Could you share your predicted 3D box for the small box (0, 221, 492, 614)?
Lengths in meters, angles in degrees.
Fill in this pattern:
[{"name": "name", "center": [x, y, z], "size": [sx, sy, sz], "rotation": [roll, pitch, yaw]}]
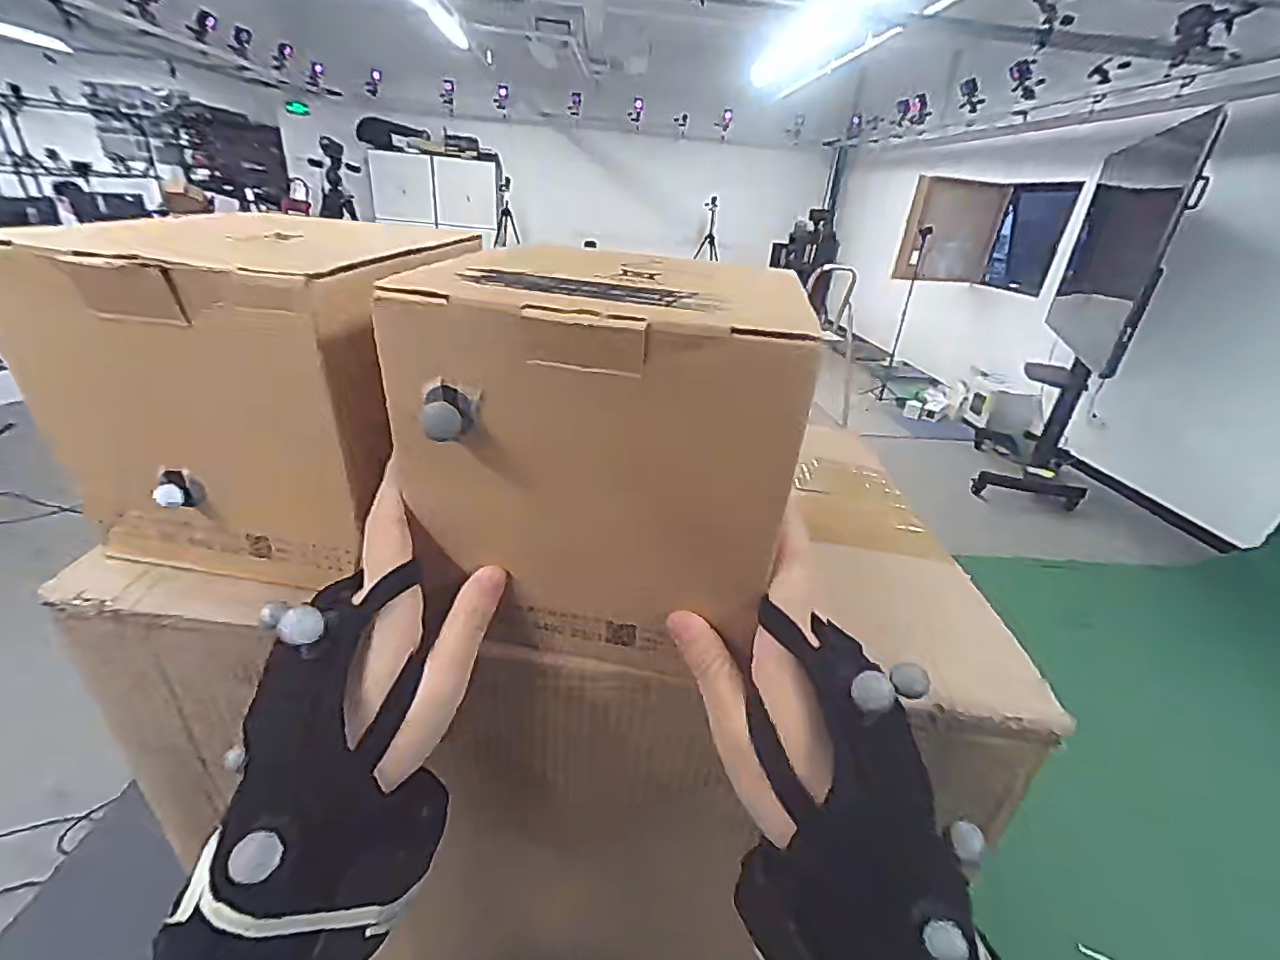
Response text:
[{"name": "small box", "center": [-0.198, -0.050, 0.327], "size": [0.168, 0.176, 0.179], "rotation": [8, 31, 5]}]
